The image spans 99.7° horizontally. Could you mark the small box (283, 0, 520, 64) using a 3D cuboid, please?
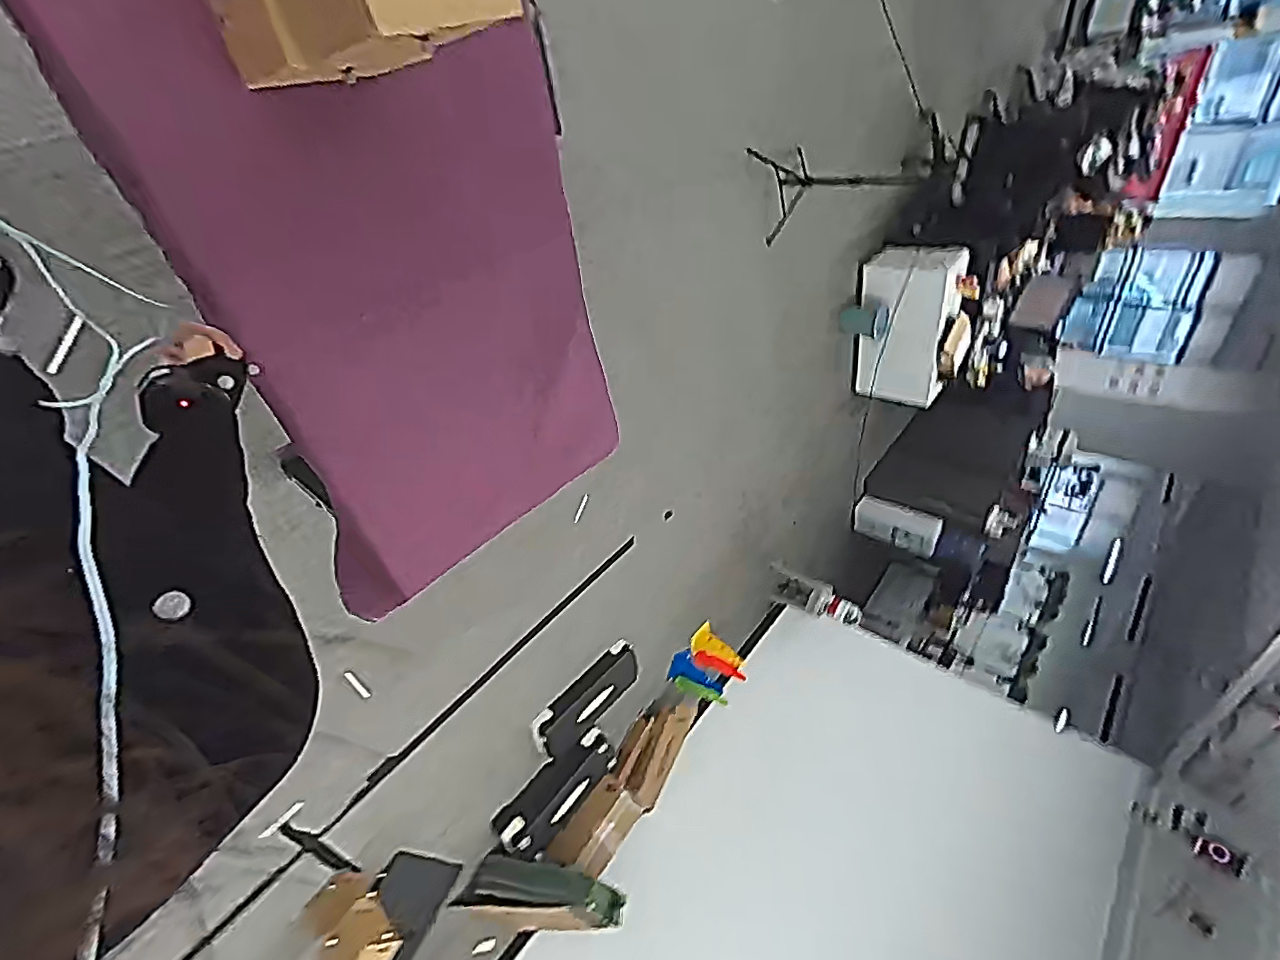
[{"bbox_3d":[-0.255,-0.527,0.524,0.179,0.176,0.168,-42,136,-31],"label":"small box"}]

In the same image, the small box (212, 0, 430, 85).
[{"bbox_3d":[-0.383,-0.568,0.619,0.179,0.176,0.168,-37,134,-34],"label":"small box"}]
